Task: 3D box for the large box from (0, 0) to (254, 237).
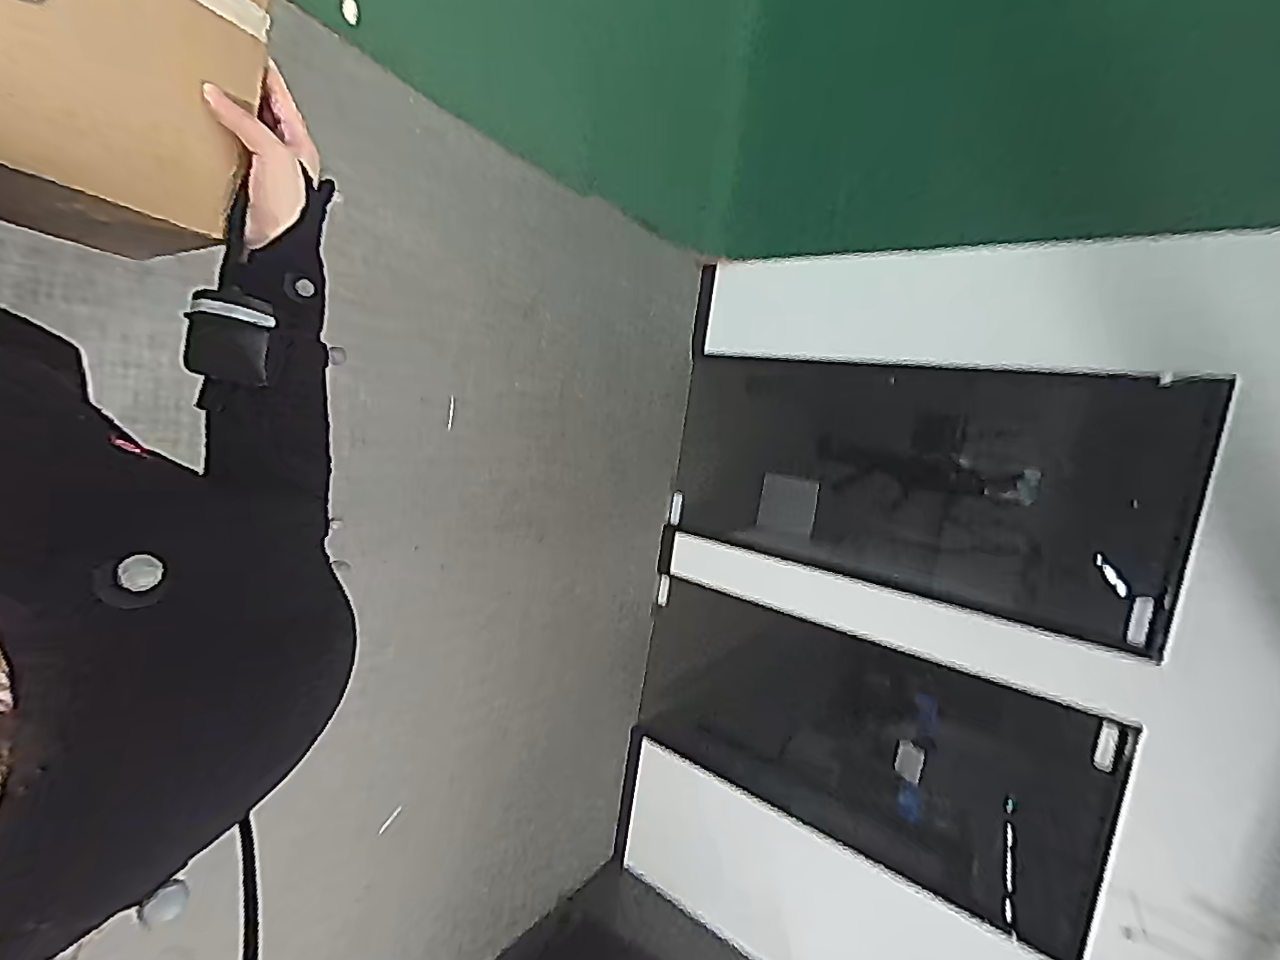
[{"bbox_3d":[-0.520,-0.381,0.323,0.408,0.320,0.320,3,100,-54],"label":"large box"}]
